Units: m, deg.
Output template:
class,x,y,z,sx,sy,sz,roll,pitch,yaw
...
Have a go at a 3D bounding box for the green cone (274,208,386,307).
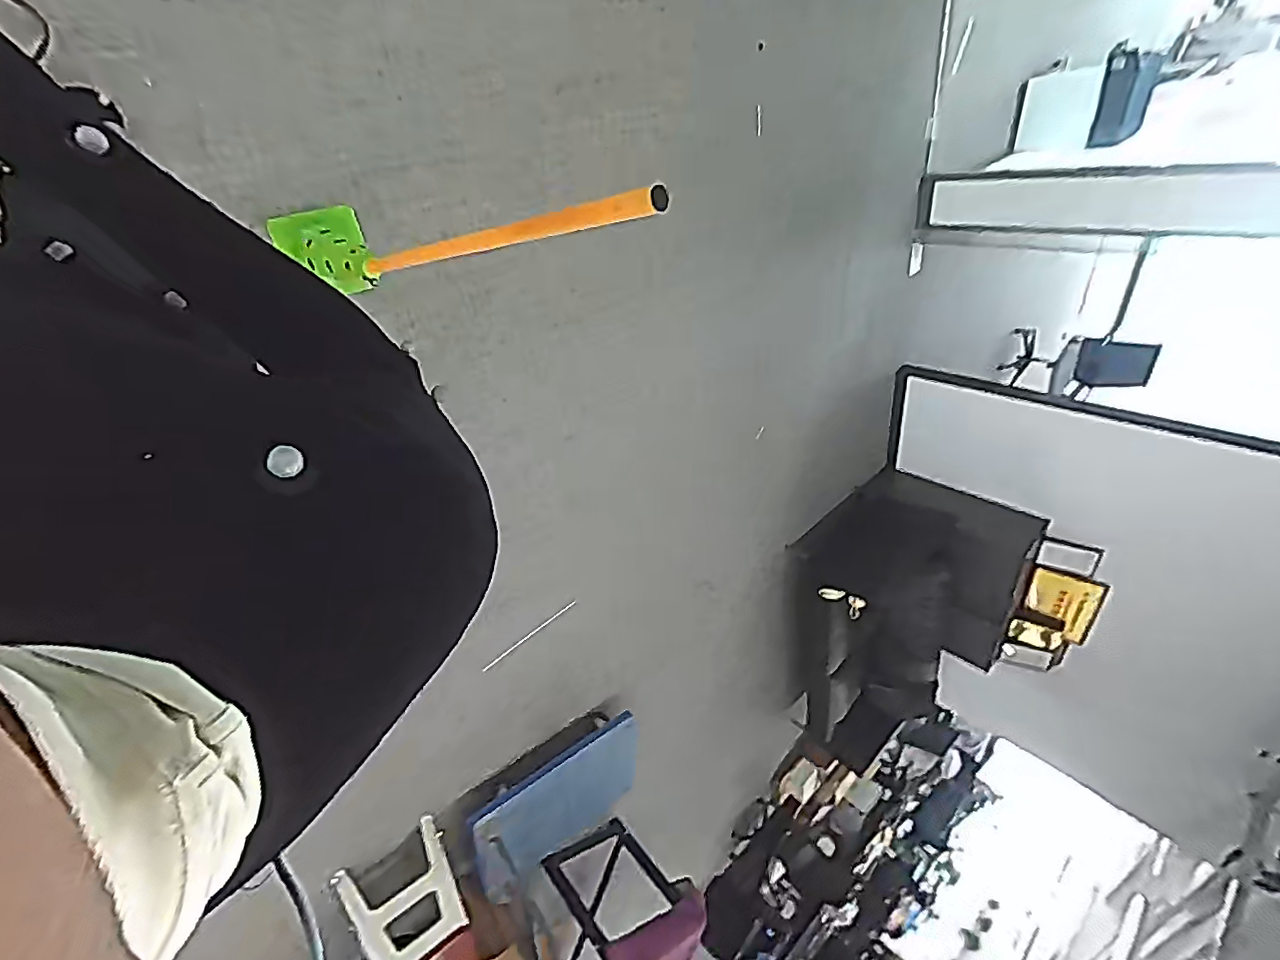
class,x,y,z,sx,sy,sz,roll,pitch,yaw
green cone,-0.646,-0.490,1.216,0.202,0.368,0.200,-32,129,-28
